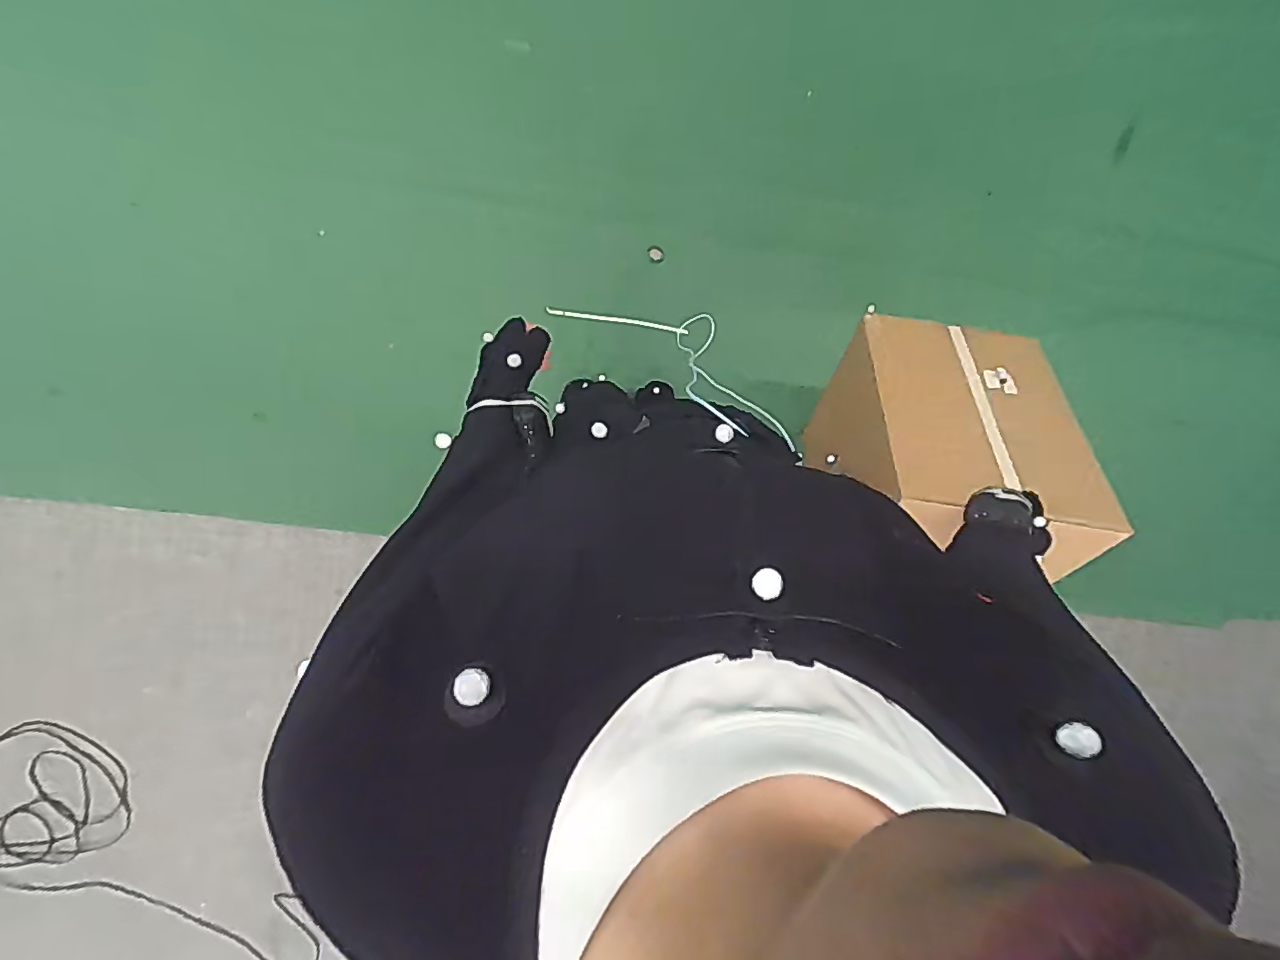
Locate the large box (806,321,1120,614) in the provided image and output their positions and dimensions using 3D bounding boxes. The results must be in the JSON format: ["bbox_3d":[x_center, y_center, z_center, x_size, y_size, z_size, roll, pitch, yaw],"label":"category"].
[{"bbox_3d":[0.506,-0.019,0.962,0.320,0.408,0.320,9,143,-1],"label":"large box"}]
